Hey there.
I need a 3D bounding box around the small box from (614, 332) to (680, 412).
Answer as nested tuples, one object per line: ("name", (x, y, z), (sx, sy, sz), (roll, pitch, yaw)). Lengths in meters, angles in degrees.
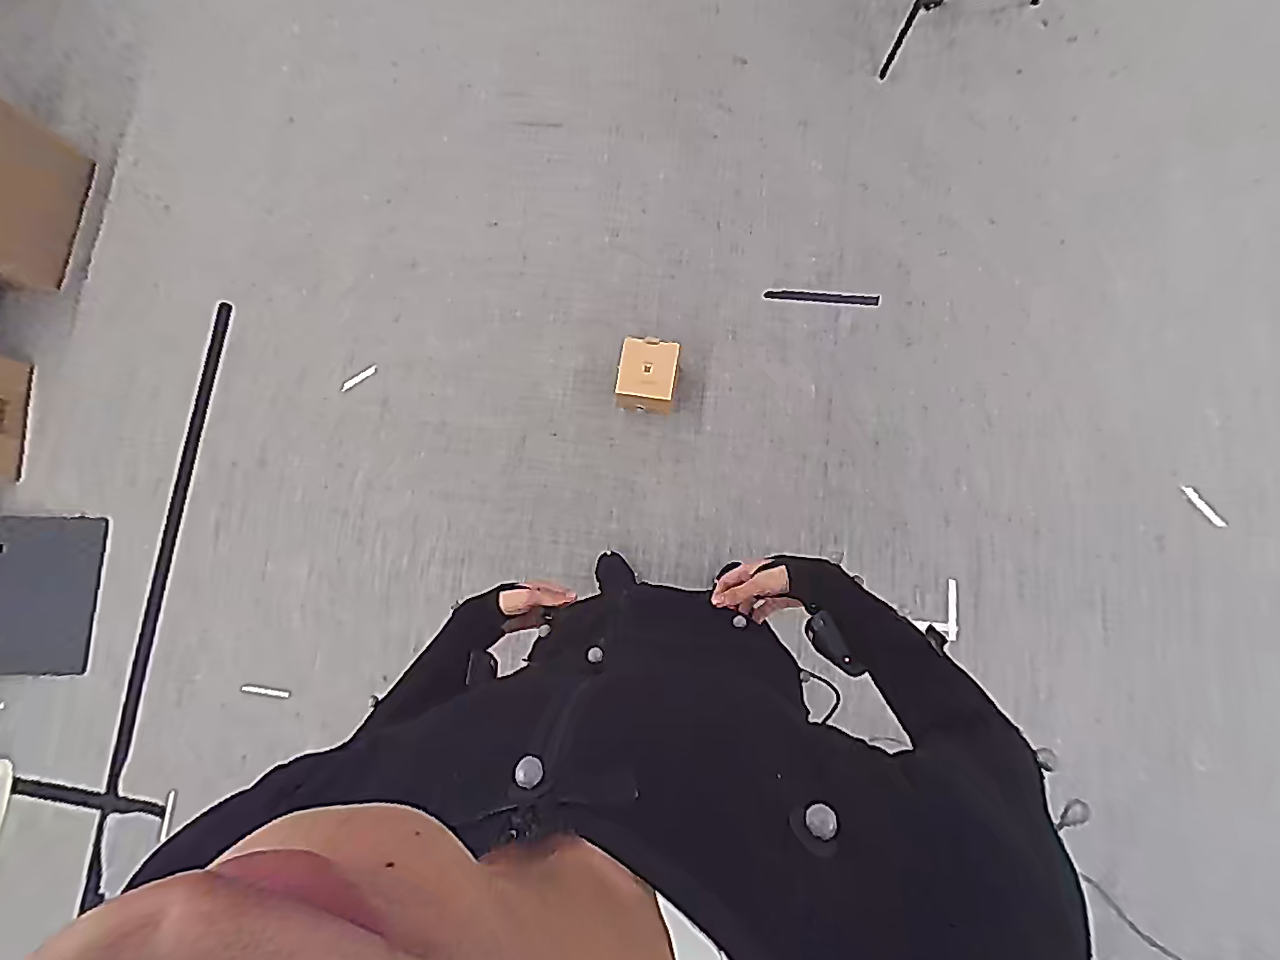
("small box", (0.025, -0.322, 1.634), (0.168, 0.176, 0.179), (9, 82, 6))
